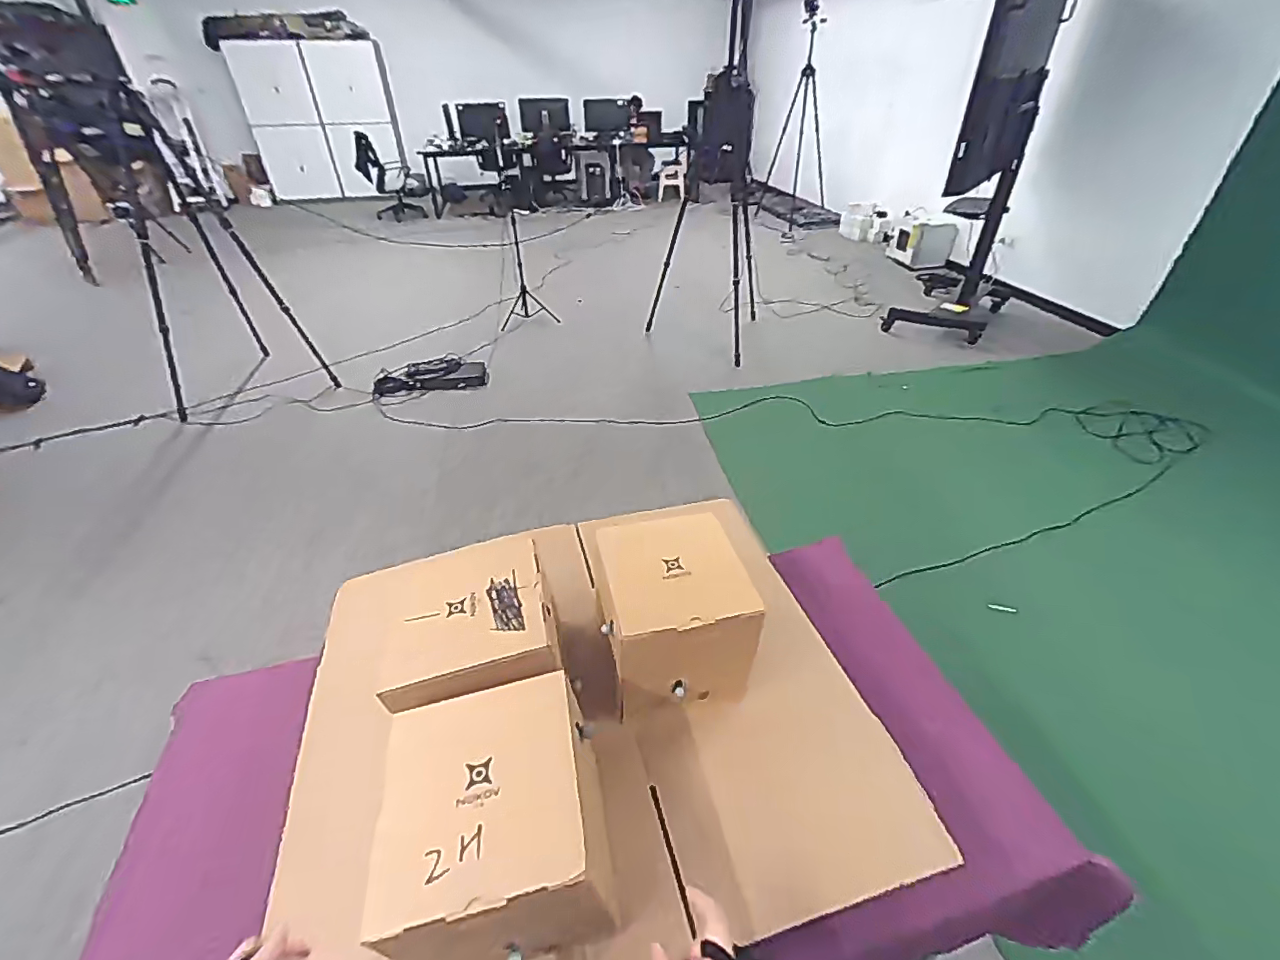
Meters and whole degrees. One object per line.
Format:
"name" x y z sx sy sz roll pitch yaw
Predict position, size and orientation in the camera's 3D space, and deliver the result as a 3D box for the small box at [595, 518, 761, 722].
"small box" 0.034 0.175 0.697 0.168 0.176 0.179 -7 38 -12
